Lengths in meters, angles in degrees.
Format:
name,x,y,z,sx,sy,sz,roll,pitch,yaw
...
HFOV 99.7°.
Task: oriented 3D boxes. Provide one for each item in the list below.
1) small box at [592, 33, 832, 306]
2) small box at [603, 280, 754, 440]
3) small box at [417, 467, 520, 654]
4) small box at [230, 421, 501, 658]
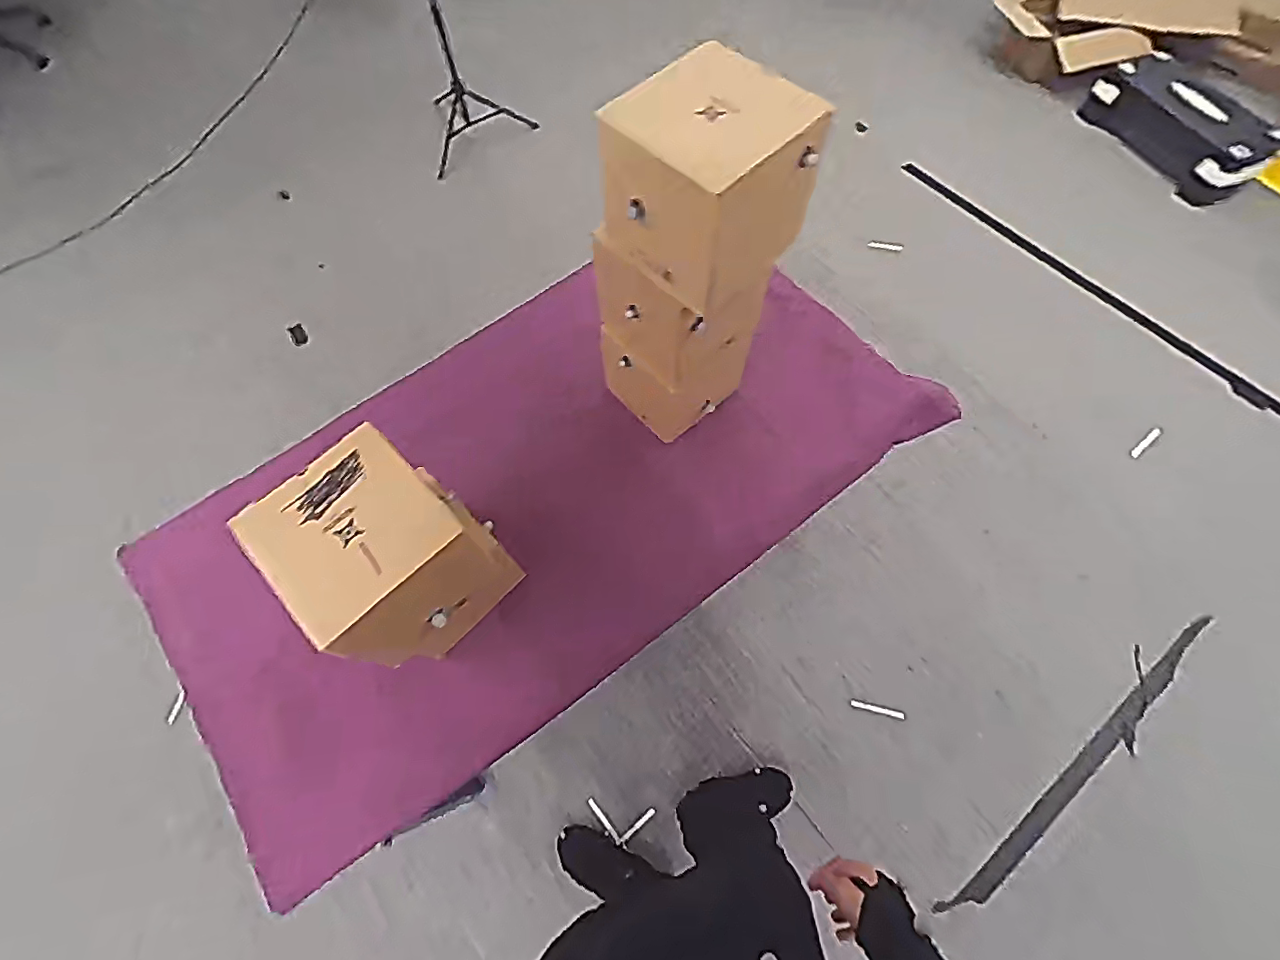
name,x,y,z,sx,sy,sz,roll,pitch,yaw
small box,0.072,-0.328,0.591,0.168,0.176,0.179,42,73,17
small box,0.058,-0.202,0.894,0.179,0.176,0.168,-40,71,-16
small box,-0.294,0.121,0.756,0.168,0.176,0.179,40,72,17
small box,-0.284,0.075,0.597,0.168,0.176,0.179,-43,73,-16
